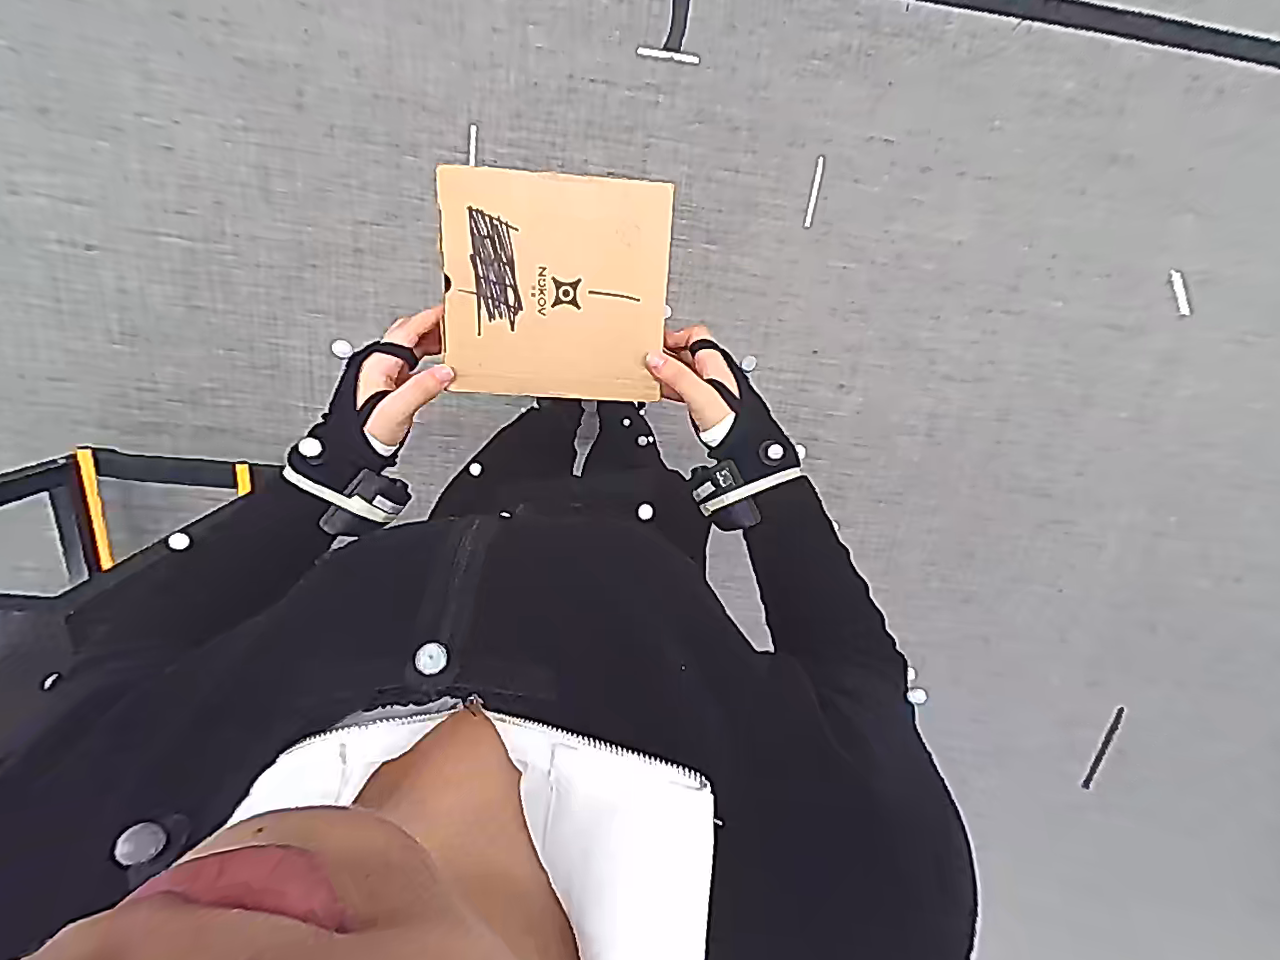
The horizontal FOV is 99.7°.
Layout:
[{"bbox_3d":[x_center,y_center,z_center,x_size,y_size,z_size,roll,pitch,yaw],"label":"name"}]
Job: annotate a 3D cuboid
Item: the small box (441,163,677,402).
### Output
[{"bbox_3d":[-0.069,-0.170,0.497,0.179,0.176,0.168,3,106,-5],"label":"small box"}]
